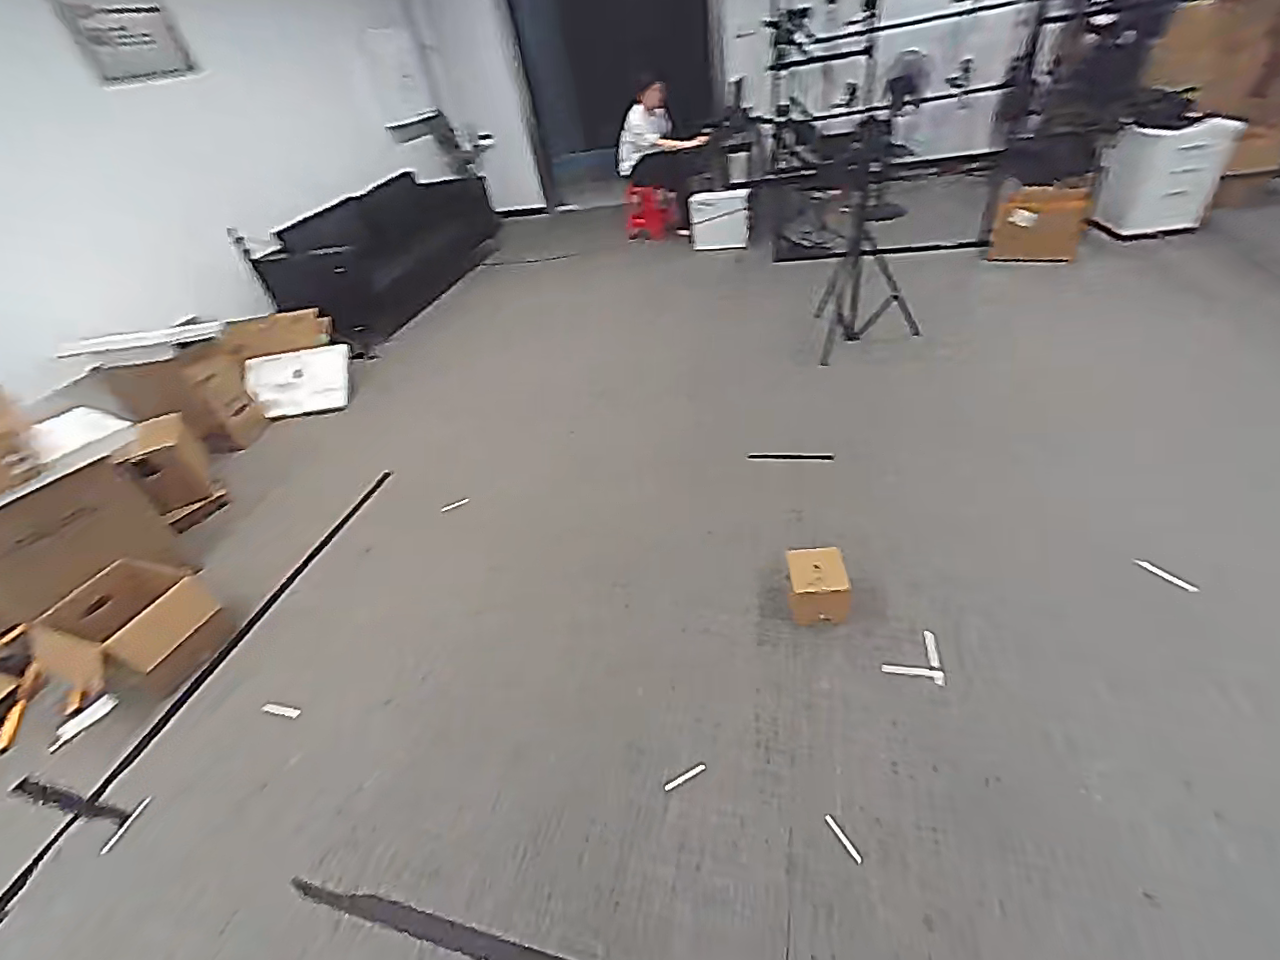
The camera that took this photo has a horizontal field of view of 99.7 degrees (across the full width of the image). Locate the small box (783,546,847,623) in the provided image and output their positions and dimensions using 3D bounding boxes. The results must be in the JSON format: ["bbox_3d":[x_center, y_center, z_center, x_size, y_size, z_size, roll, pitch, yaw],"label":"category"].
[{"bbox_3d":[0.554,0.337,1.736,0.168,0.176,0.179,-6,39,8],"label":"small box"}]
